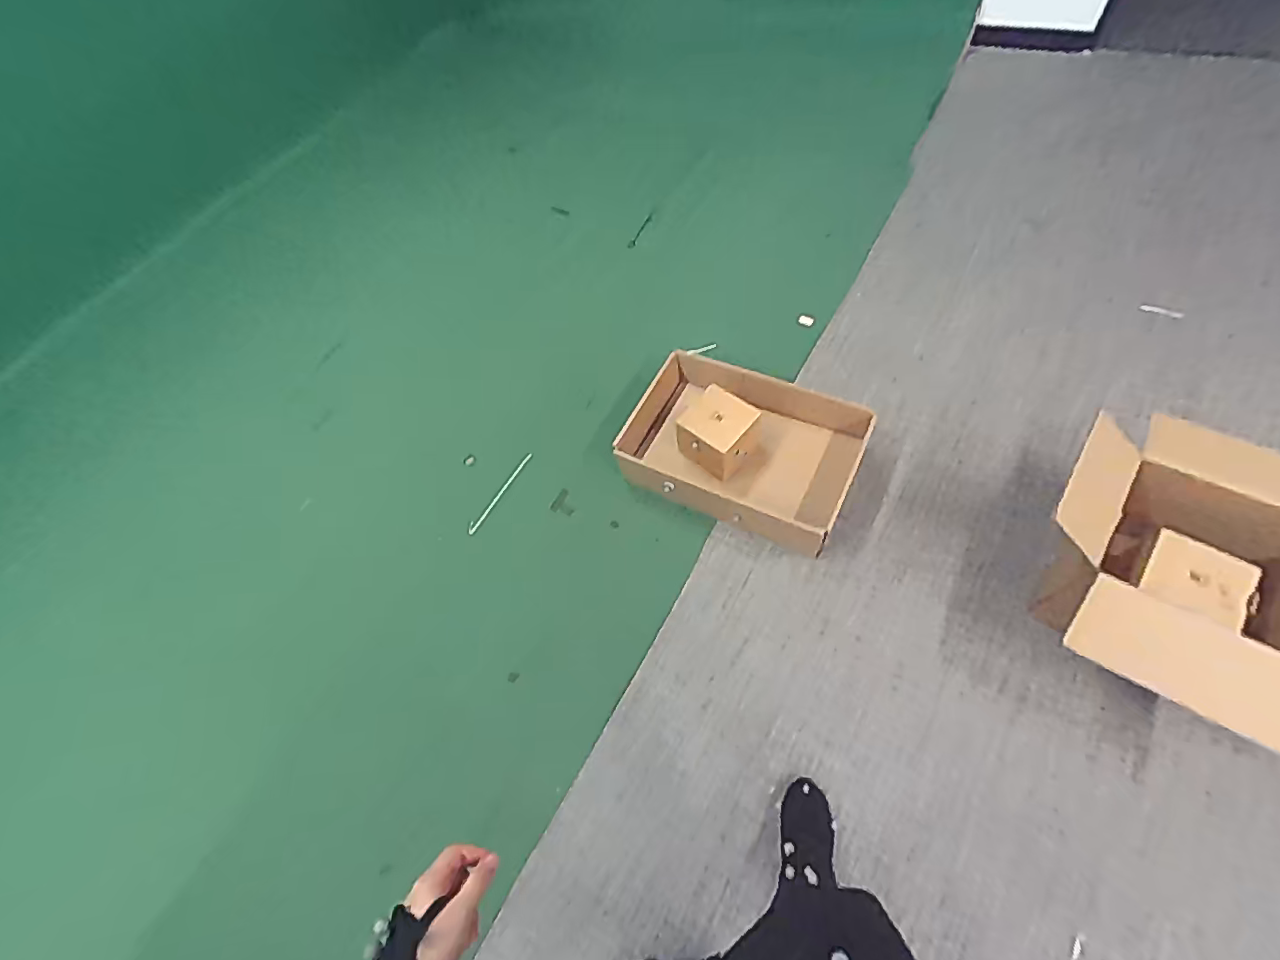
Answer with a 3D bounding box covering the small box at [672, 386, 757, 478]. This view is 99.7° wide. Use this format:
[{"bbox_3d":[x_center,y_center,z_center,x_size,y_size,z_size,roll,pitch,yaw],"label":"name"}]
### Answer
[{"bbox_3d":[0.215,-0.128,1.549,0.179,0.176,0.168,36,71,24],"label":"small box"}]
